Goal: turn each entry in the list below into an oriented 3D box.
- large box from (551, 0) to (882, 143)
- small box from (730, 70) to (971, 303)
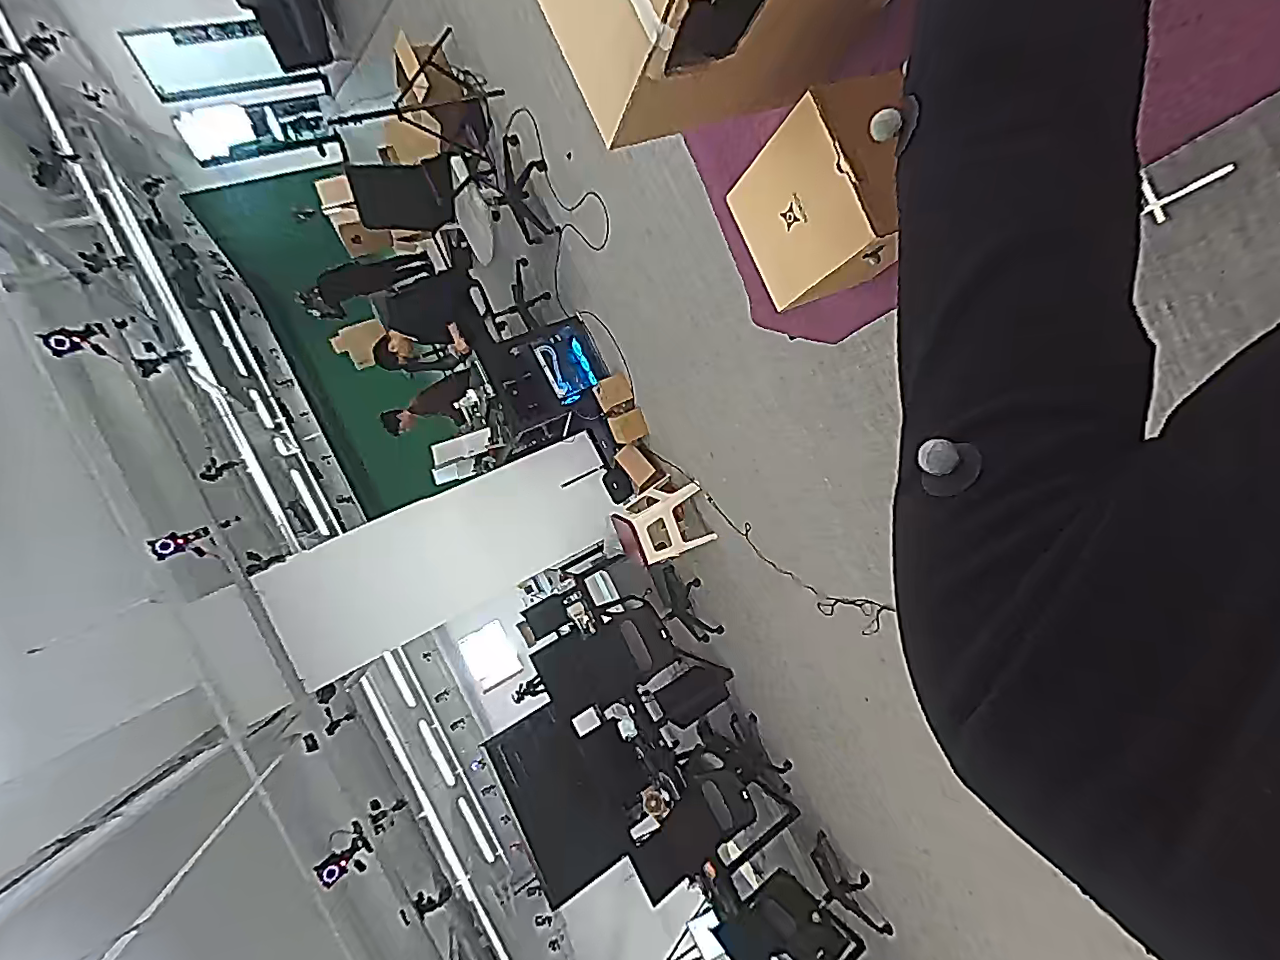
[{"bbox_3d":[0.064,-0.642,0.519,0.408,0.320,0.320,62,160,-4],"label":"large box"},{"bbox_3d":[0.244,-0.343,0.649,0.168,0.176,0.179,65,159,0],"label":"small box"}]
